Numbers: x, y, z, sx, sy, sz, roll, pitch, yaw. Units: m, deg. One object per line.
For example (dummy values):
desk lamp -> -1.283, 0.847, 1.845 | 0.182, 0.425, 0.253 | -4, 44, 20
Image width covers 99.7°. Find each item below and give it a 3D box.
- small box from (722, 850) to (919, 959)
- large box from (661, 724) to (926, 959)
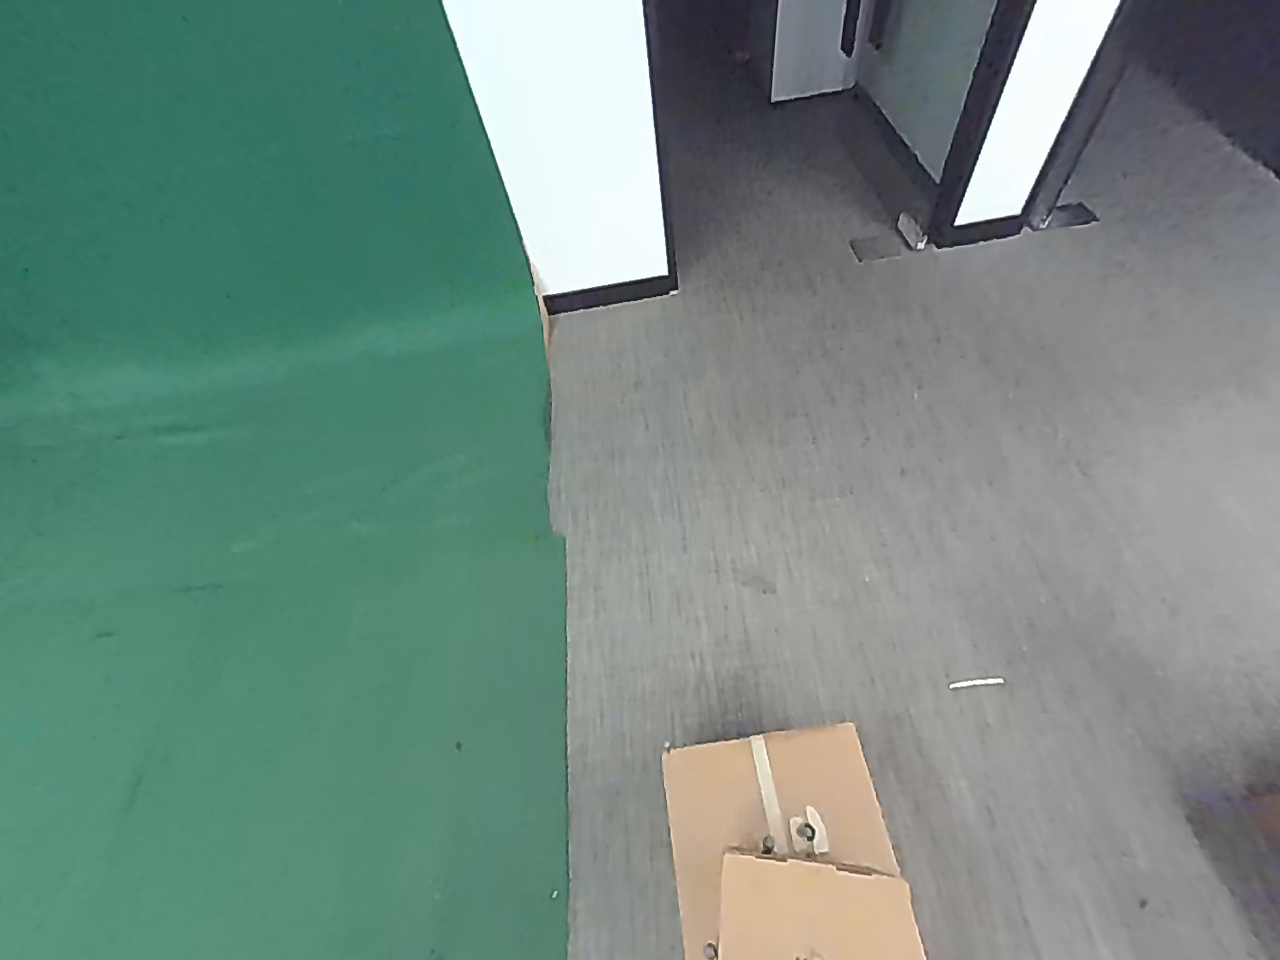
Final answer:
small box -> 0.163, 0.472, 0.520 | 0.168, 0.176, 0.179 | 1, 58, 12
large box -> 0.231, 0.660, 0.876 | 0.320, 0.320, 0.408 | -10, 54, 3
